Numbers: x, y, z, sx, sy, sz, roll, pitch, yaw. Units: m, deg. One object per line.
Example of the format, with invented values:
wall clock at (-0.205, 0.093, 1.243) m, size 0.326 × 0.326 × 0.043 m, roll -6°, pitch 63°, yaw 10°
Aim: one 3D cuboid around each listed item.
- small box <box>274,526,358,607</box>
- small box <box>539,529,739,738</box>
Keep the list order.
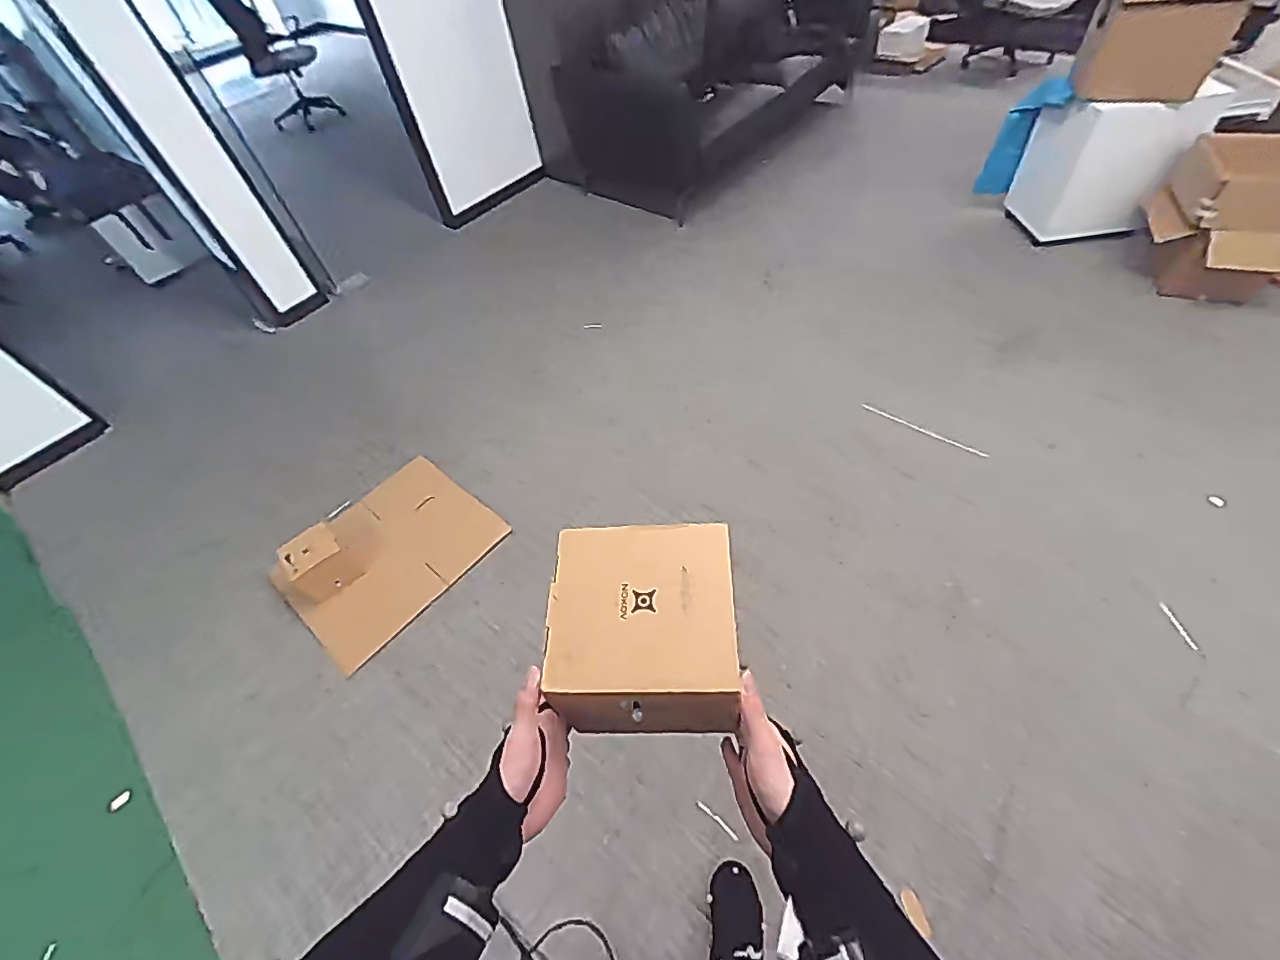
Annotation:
small box at (-1.104, 0.299, 1.862) m, size 0.179 × 0.176 × 0.168 m, roll -36°, pitch 56°, yaw -20°
small box at (0.010, 0.166, 0.569) m, size 0.179 × 0.176 × 0.168 m, roll -2°, pitch 53°, yaw 6°
